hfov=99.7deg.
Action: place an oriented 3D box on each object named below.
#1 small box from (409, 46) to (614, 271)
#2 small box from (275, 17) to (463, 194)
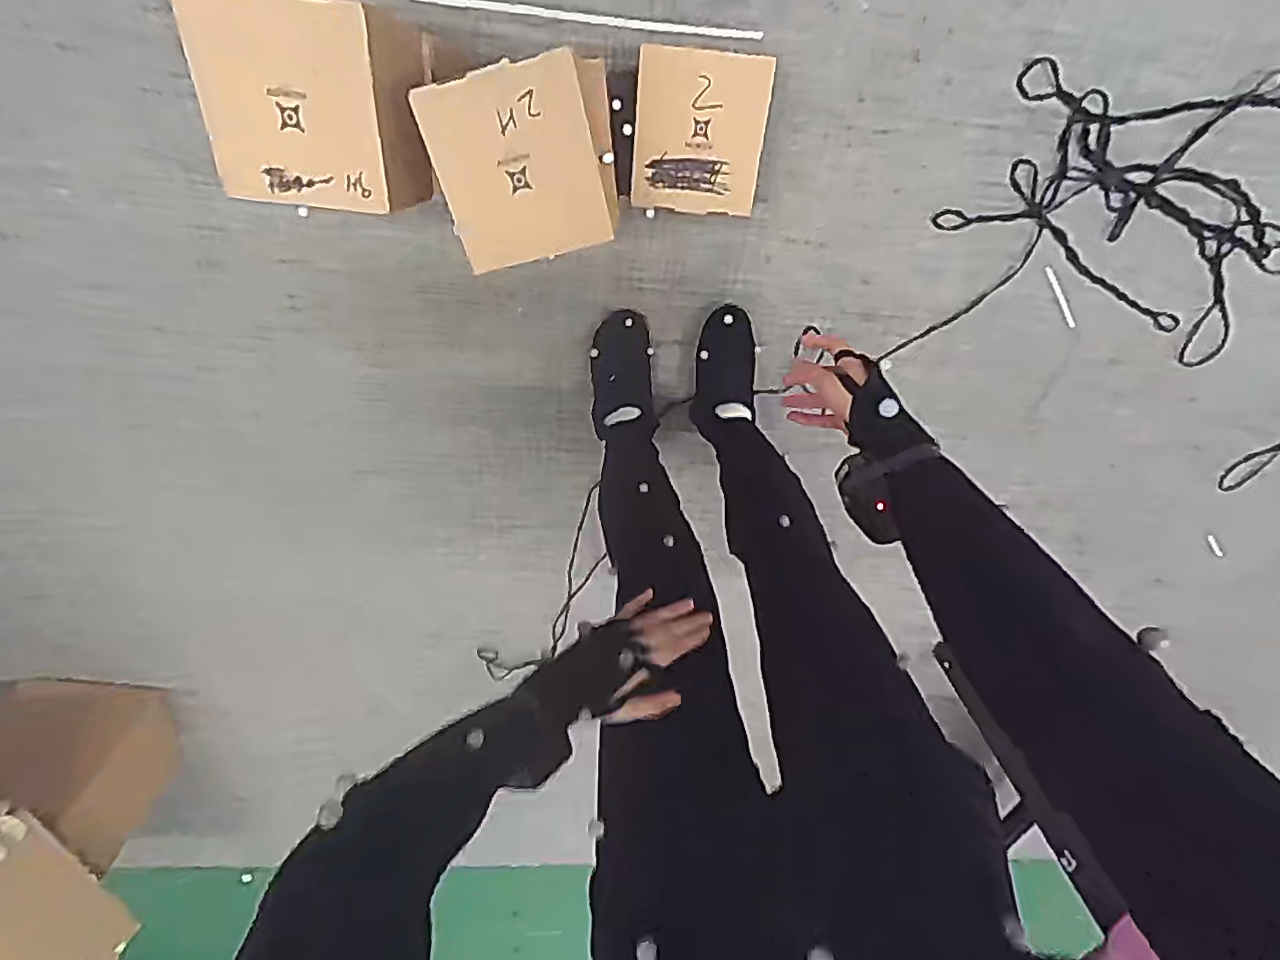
[{"bbox_3d":[-0.127,-0.362,0.621,0.168,0.176,0.179,-11,122,5],"label":"small box"},{"bbox_3d":[-0.336,-0.491,0.724,0.179,0.176,0.168,3,122,-4],"label":"small box"}]
